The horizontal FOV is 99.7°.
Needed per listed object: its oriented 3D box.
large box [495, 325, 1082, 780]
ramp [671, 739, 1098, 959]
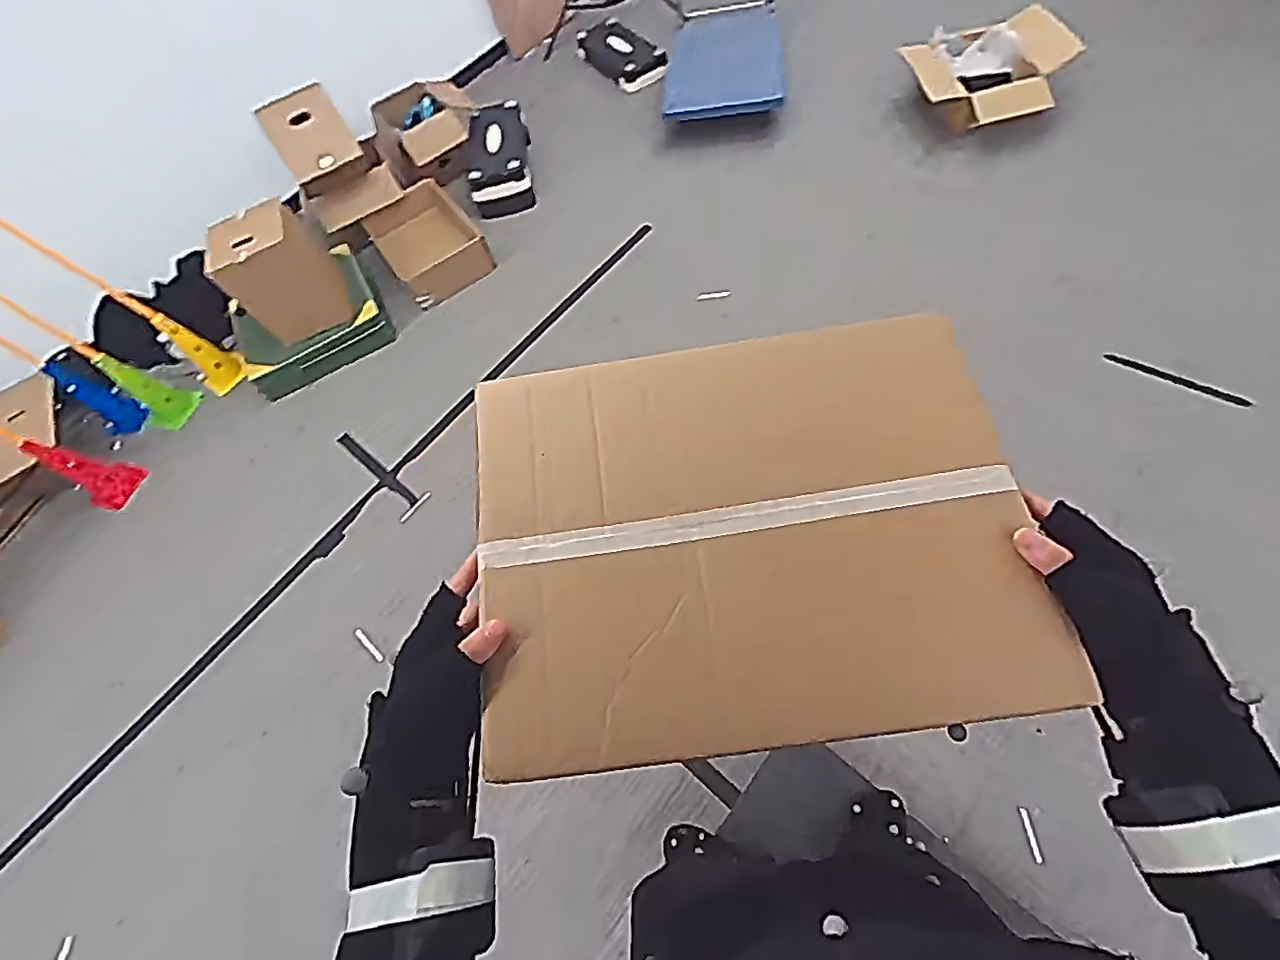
[{"bbox_3d":[0.100,0.088,0.561,0.408,0.320,0.320,-9,68,3],"label":"large box"},{"bbox_3d":[0.598,1.020,1.104,0.991,0.206,0.509,32,71,24],"label":"ramp"}]
